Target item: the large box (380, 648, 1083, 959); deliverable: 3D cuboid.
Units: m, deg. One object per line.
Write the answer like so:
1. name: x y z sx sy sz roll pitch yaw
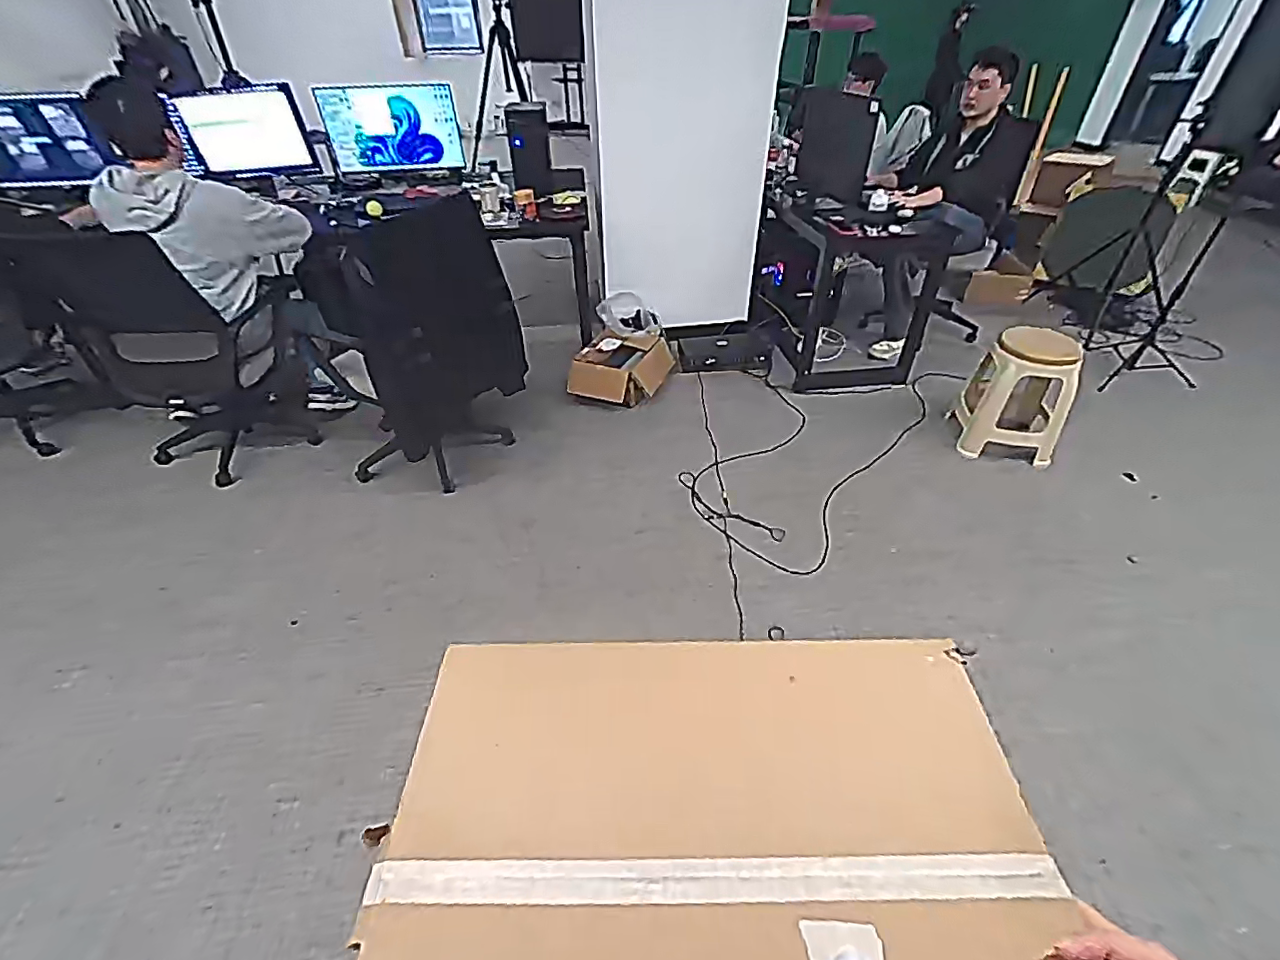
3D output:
1. large box: 0.050 0.355 0.432 0.408 0.320 0.320 -1 44 0
